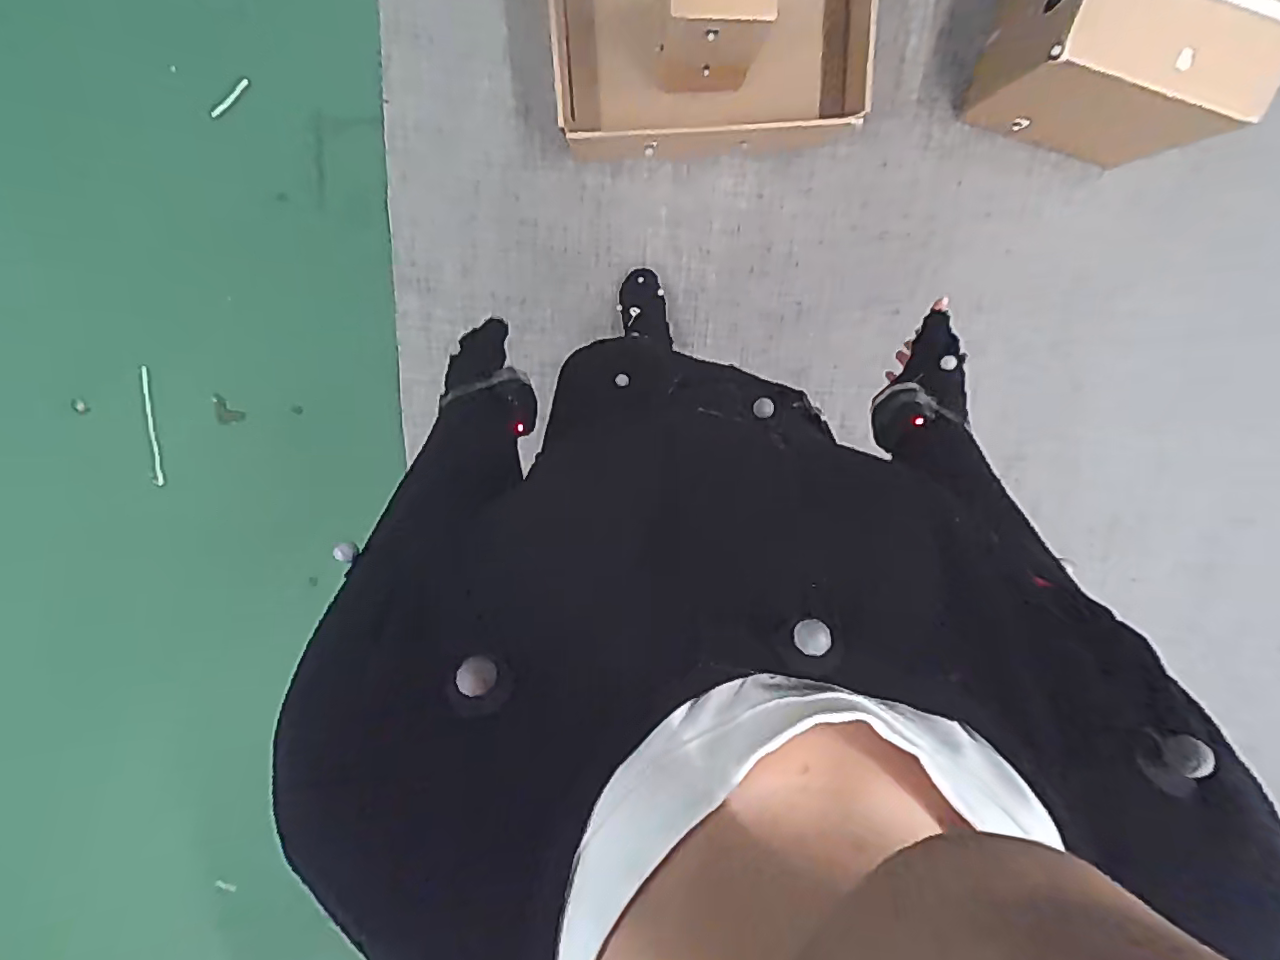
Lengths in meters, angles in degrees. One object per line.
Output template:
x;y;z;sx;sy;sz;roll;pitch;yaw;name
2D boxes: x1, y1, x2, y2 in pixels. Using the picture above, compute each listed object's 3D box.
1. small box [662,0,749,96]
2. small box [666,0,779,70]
0.134;-0.896;1.084;0.179;0.176;0.168;-2;107;-1;small box
0.136;-0.837;0.929;0.179;0.176;0.168;1;107;-2;small box
